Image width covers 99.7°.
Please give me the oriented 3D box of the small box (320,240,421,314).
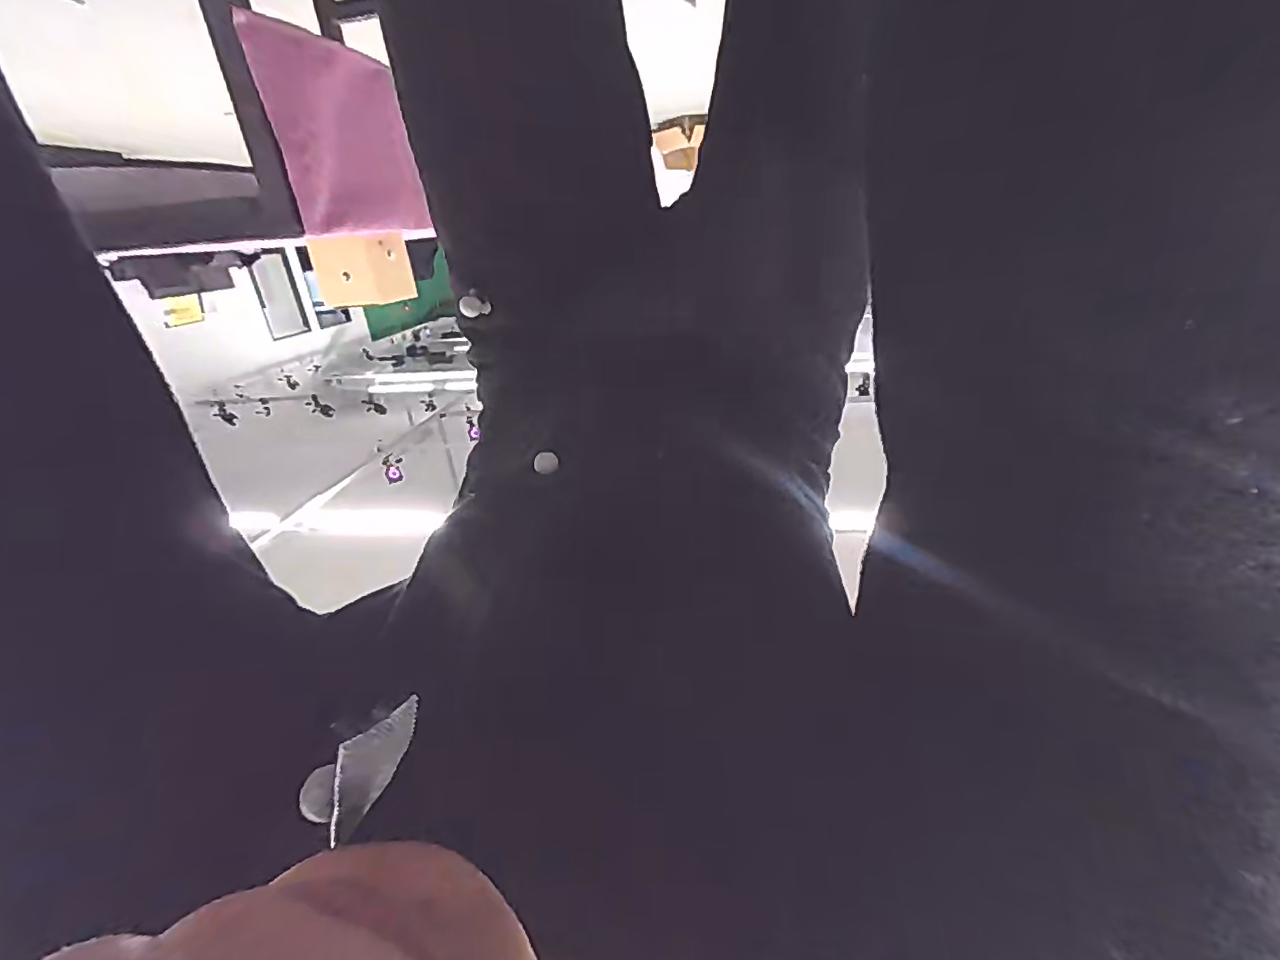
[{"bbox_3d":[-0.729,-0.551,1.461,0.179,0.176,0.168,0,-155,14],"label":"small box"}]
